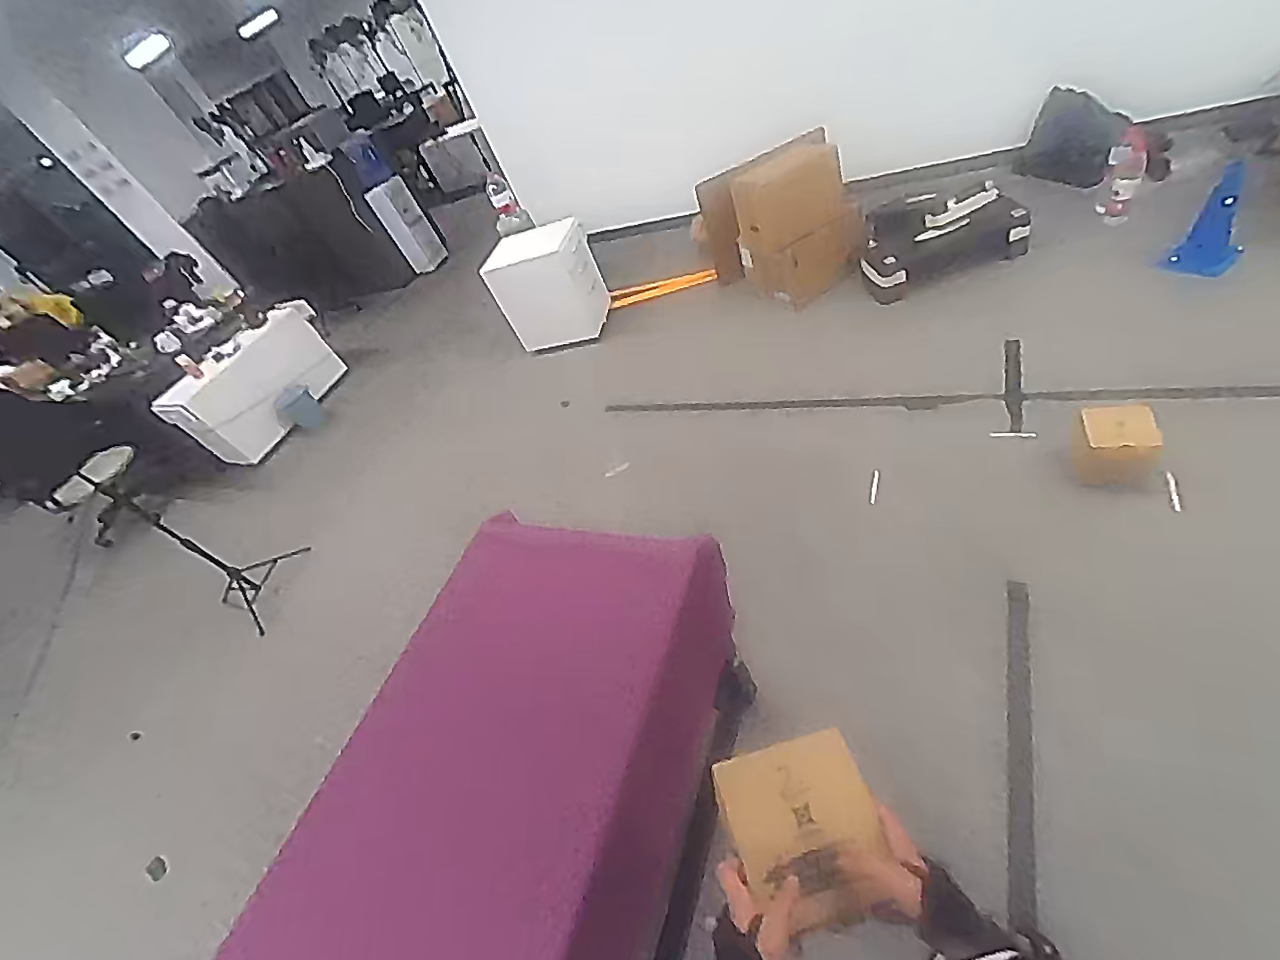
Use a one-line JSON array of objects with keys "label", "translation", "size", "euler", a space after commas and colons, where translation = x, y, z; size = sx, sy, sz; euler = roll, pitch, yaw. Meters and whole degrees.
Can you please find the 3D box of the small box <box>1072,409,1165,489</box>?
[{"label": "small box", "translation": [1.432, -0.093, 1.632], "size": [0.168, 0.176, 0.179], "euler": [0, 51, 27]}]
